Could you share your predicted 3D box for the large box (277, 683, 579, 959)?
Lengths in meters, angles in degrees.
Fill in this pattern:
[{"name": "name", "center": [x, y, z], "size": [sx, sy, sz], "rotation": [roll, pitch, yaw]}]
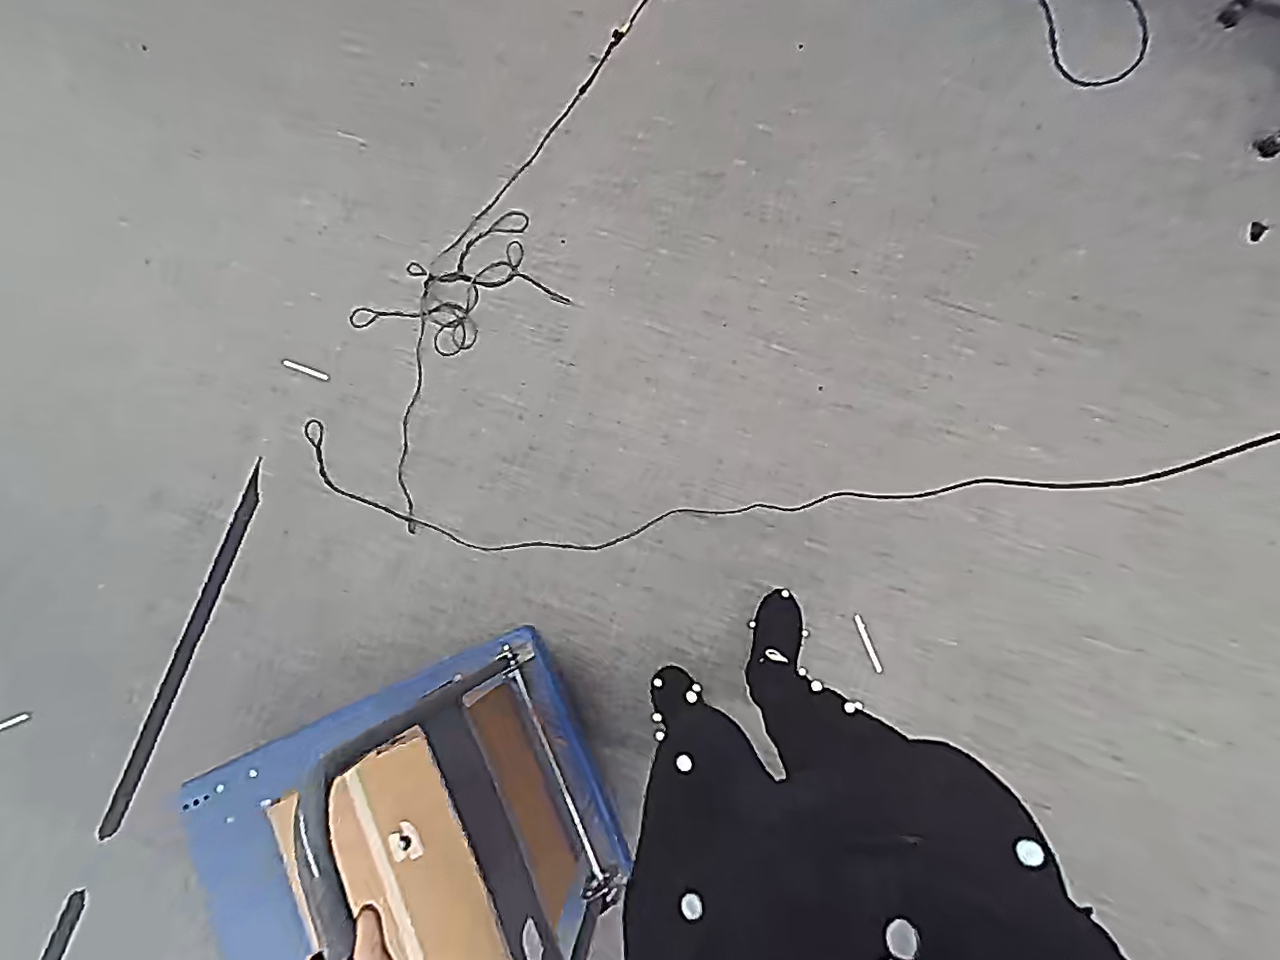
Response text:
[{"name": "large box", "center": [-0.352, 0.650, 0.984], "size": [0.320, 0.320, 0.408], "rotation": [-25, 81, 1]}]
